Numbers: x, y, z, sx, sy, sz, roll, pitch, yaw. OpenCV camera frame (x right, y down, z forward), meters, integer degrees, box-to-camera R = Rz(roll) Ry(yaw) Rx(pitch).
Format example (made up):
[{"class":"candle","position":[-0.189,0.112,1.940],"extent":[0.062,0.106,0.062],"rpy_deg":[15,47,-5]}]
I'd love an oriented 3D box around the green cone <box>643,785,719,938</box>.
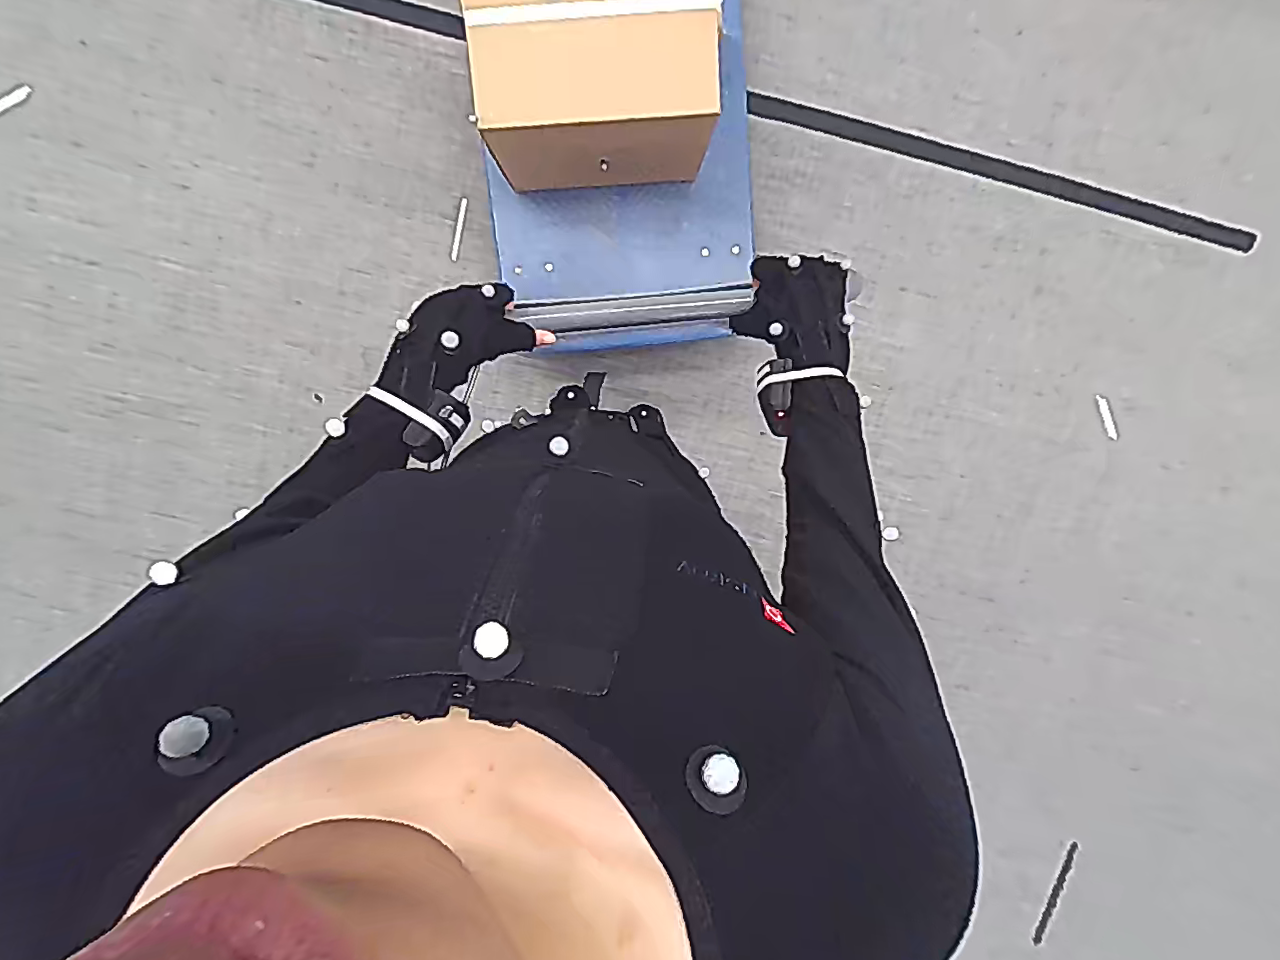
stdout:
[{"class":"green cone","position":[0.135,1.071,1.494],"extent":[0.202,0.368,0.200],"rpy_deg":[17,99,-6]}]

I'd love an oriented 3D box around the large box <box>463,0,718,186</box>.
[{"class":"large box","position":[-0.082,-0.776,1.010],"extent":[0.408,0.320,0.320],"rpy_deg":[-5,101,0]}]
